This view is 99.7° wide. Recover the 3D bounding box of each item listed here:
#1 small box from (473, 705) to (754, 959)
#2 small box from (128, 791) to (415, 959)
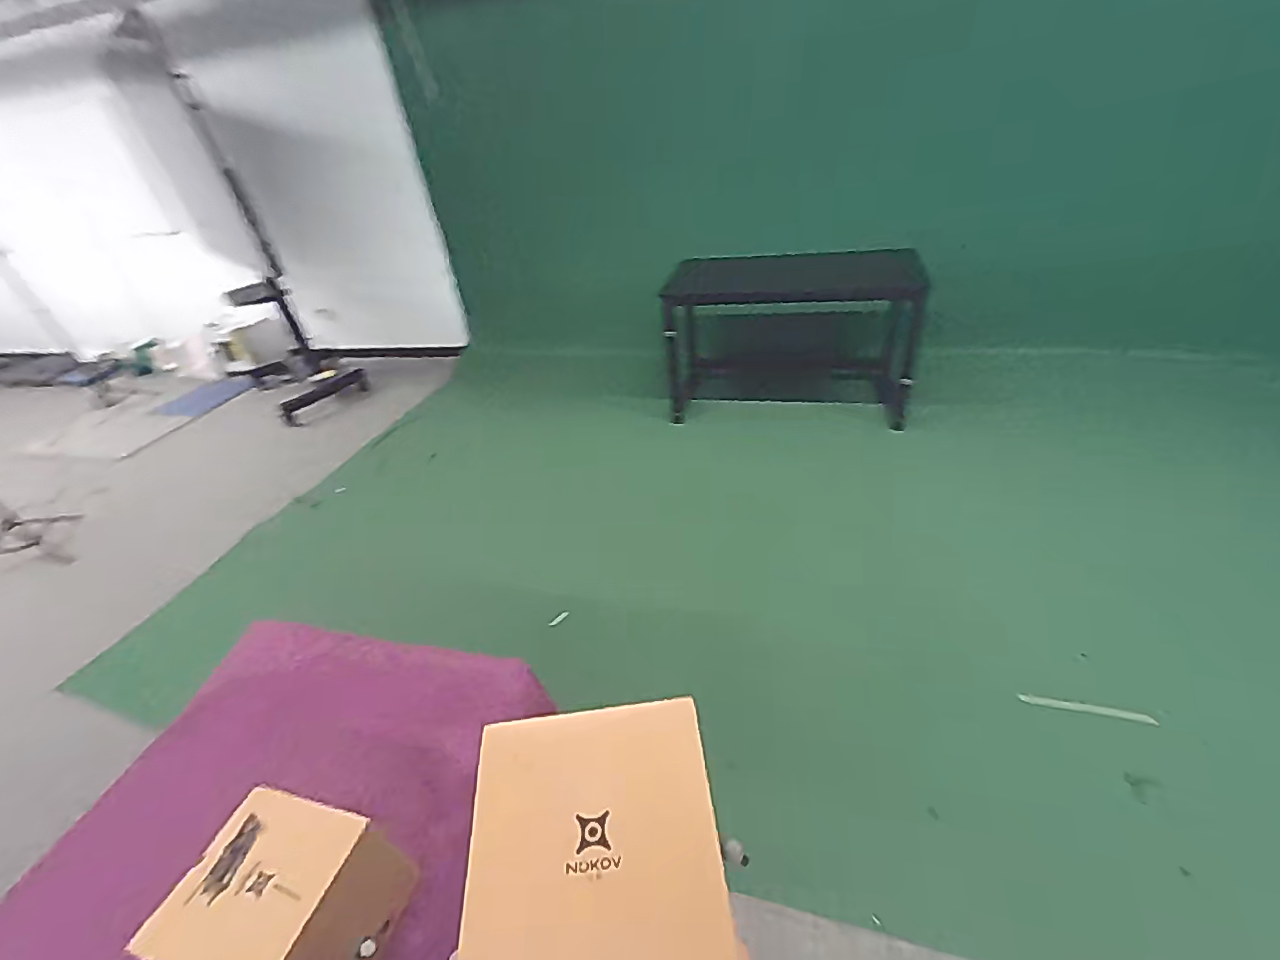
[{"bbox_3d":[-0.016,0.298,0.408,0.168,0.176,0.179,-7,43,-1],"label":"small box"},{"bbox_3d":[-0.399,0.496,0.619,0.179,0.176,0.168,4,37,16],"label":"small box"}]
